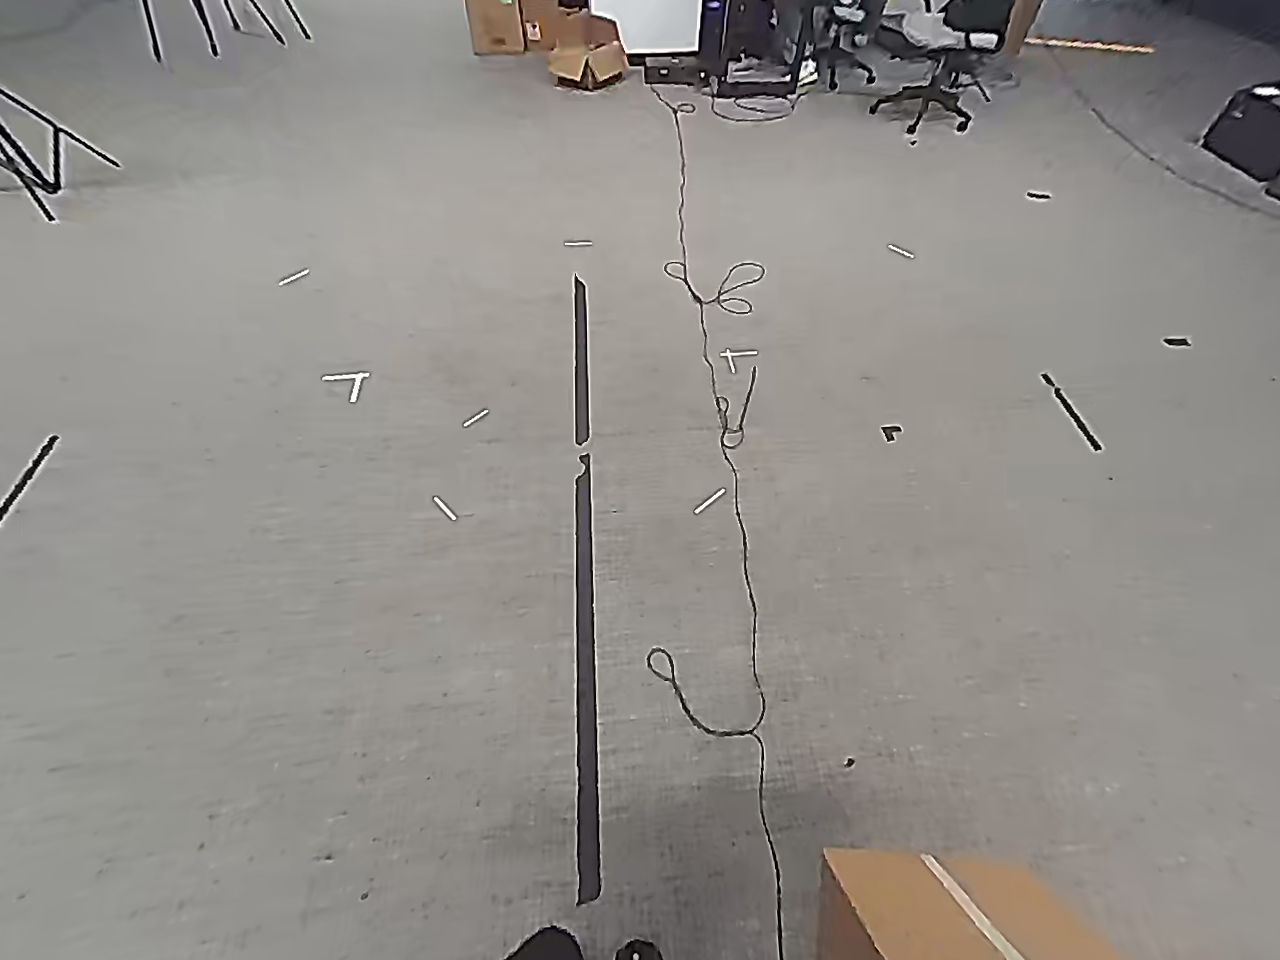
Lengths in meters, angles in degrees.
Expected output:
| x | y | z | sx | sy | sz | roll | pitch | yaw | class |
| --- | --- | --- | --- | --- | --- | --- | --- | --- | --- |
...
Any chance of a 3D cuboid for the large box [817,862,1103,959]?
| x | y | z | sx | sy | sz | roll | pitch | yaw | class |
| --- | --- | --- | --- | --- | --- | --- | --- | --- | --- |
| 0.416 | 0.729 | 0.610 | 0.320 | 0.408 | 0.320 | 6 | 86 | -1 | large box |
